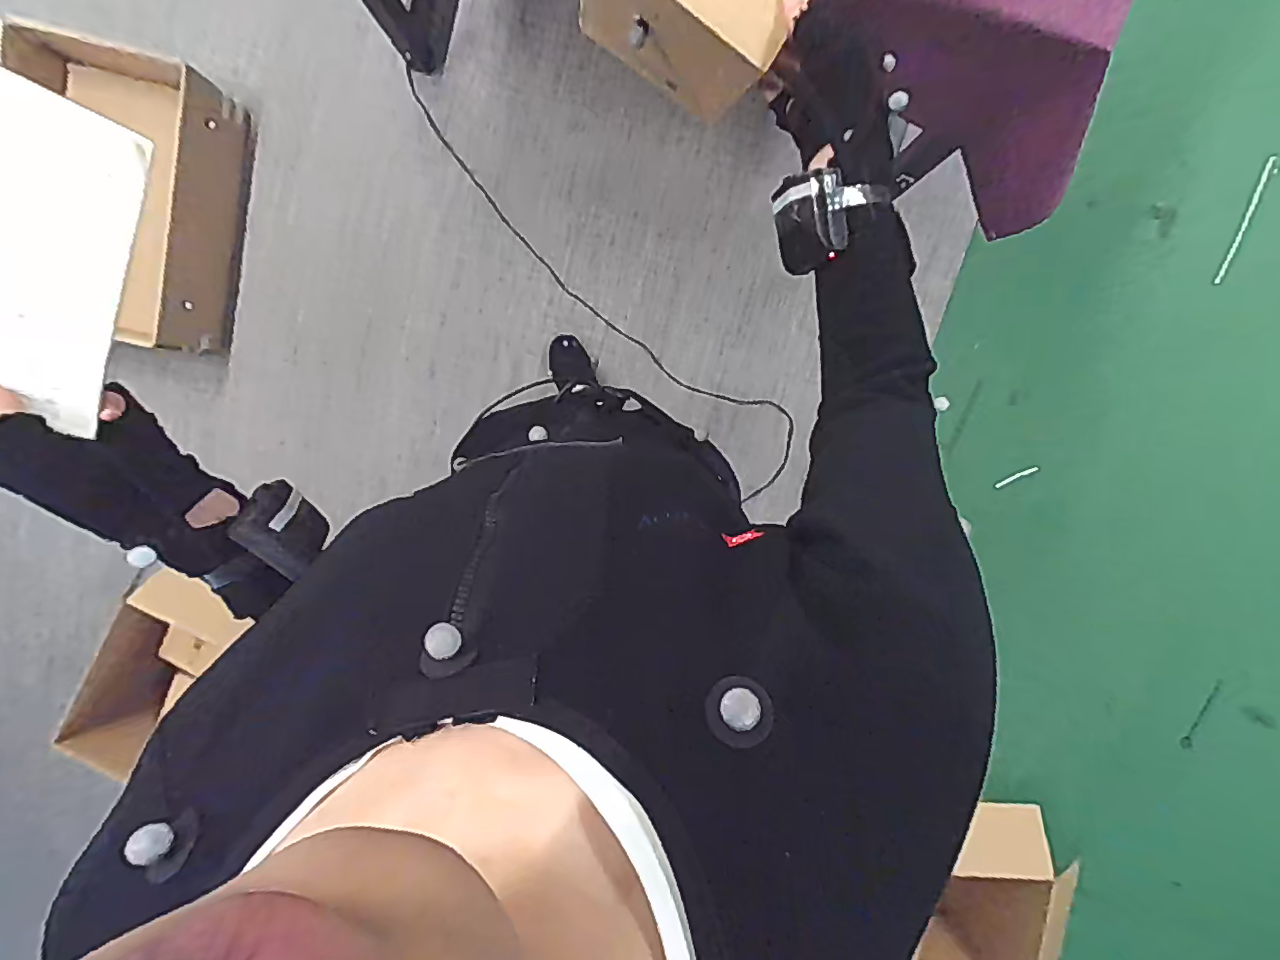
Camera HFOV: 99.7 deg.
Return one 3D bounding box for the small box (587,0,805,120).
[{"bbox_3d":[0.064,-0.456,0.462,0.168,0.176,0.179,28,102,-17],"label":"small box"}]
